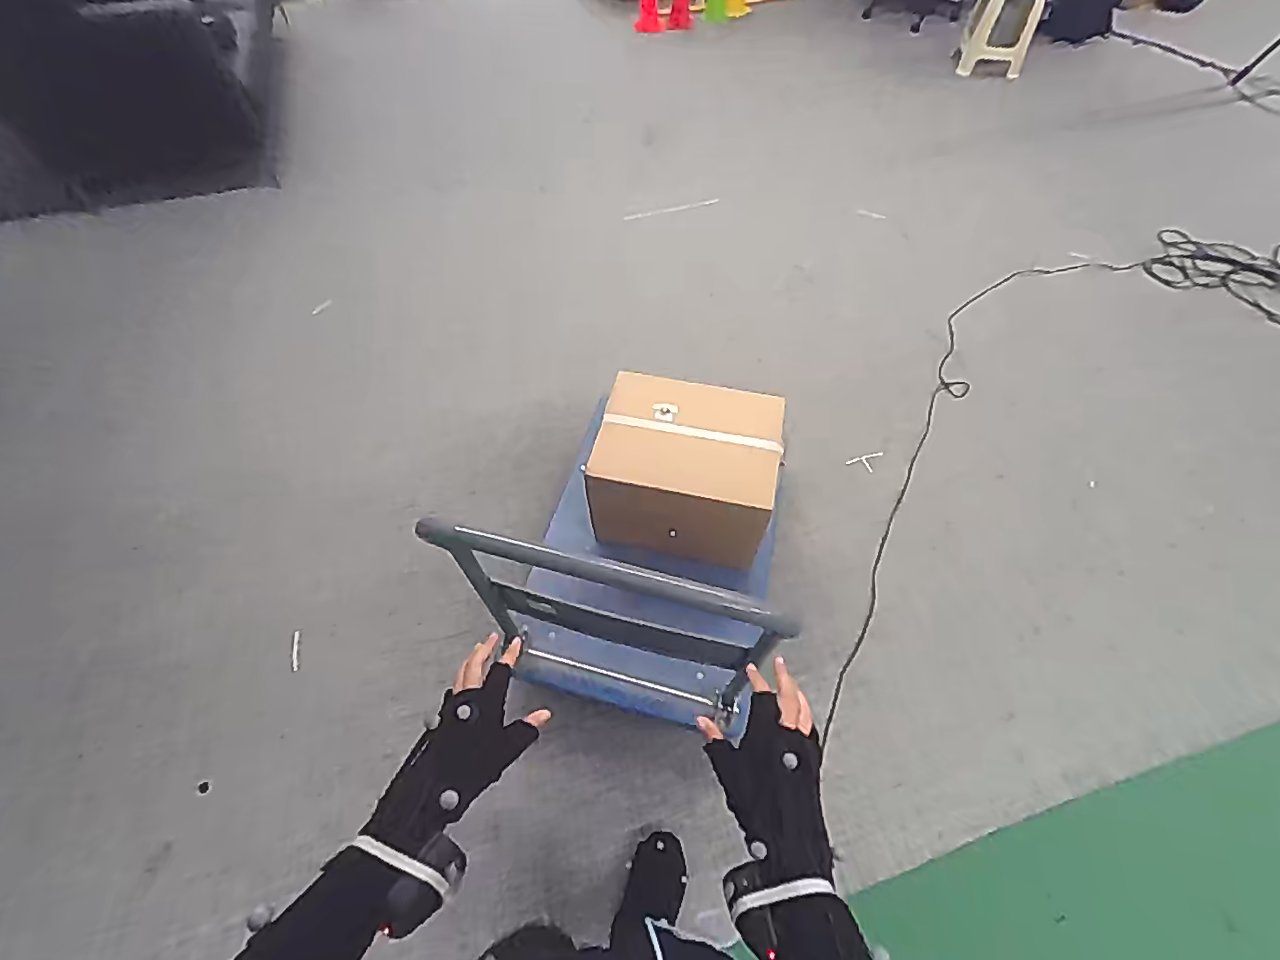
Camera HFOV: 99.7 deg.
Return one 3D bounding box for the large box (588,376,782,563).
[{"bbox_3d":[0.118,-0.020,1.340,0.408,0.320,0.320,9,57,8],"label":"large box"}]
